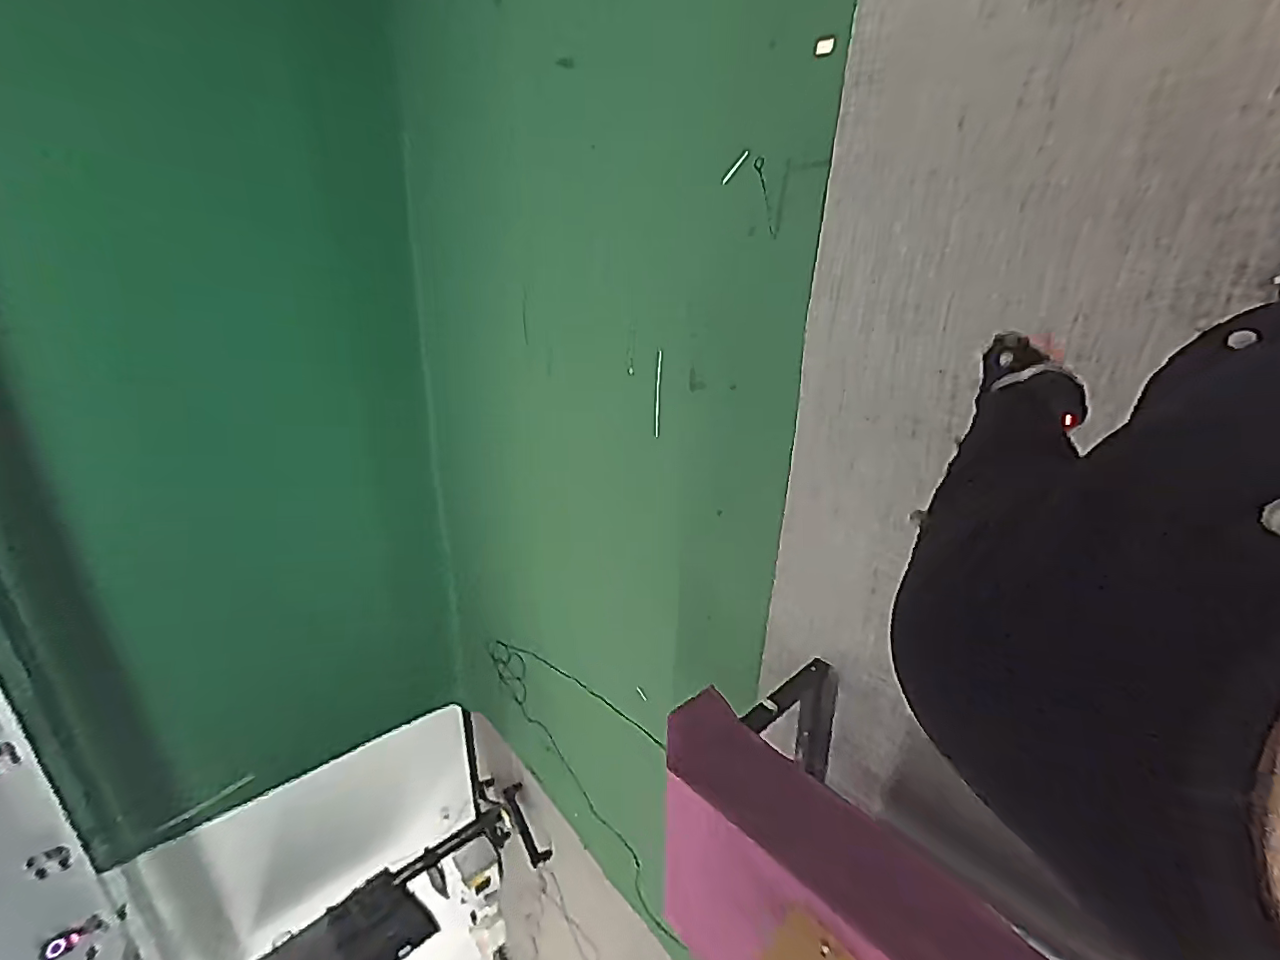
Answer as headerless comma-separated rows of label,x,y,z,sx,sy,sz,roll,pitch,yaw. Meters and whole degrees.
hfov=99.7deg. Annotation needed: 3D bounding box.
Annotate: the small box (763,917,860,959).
small box,0.354,1.041,1.090,0.179,0.176,0.168,22,120,44
